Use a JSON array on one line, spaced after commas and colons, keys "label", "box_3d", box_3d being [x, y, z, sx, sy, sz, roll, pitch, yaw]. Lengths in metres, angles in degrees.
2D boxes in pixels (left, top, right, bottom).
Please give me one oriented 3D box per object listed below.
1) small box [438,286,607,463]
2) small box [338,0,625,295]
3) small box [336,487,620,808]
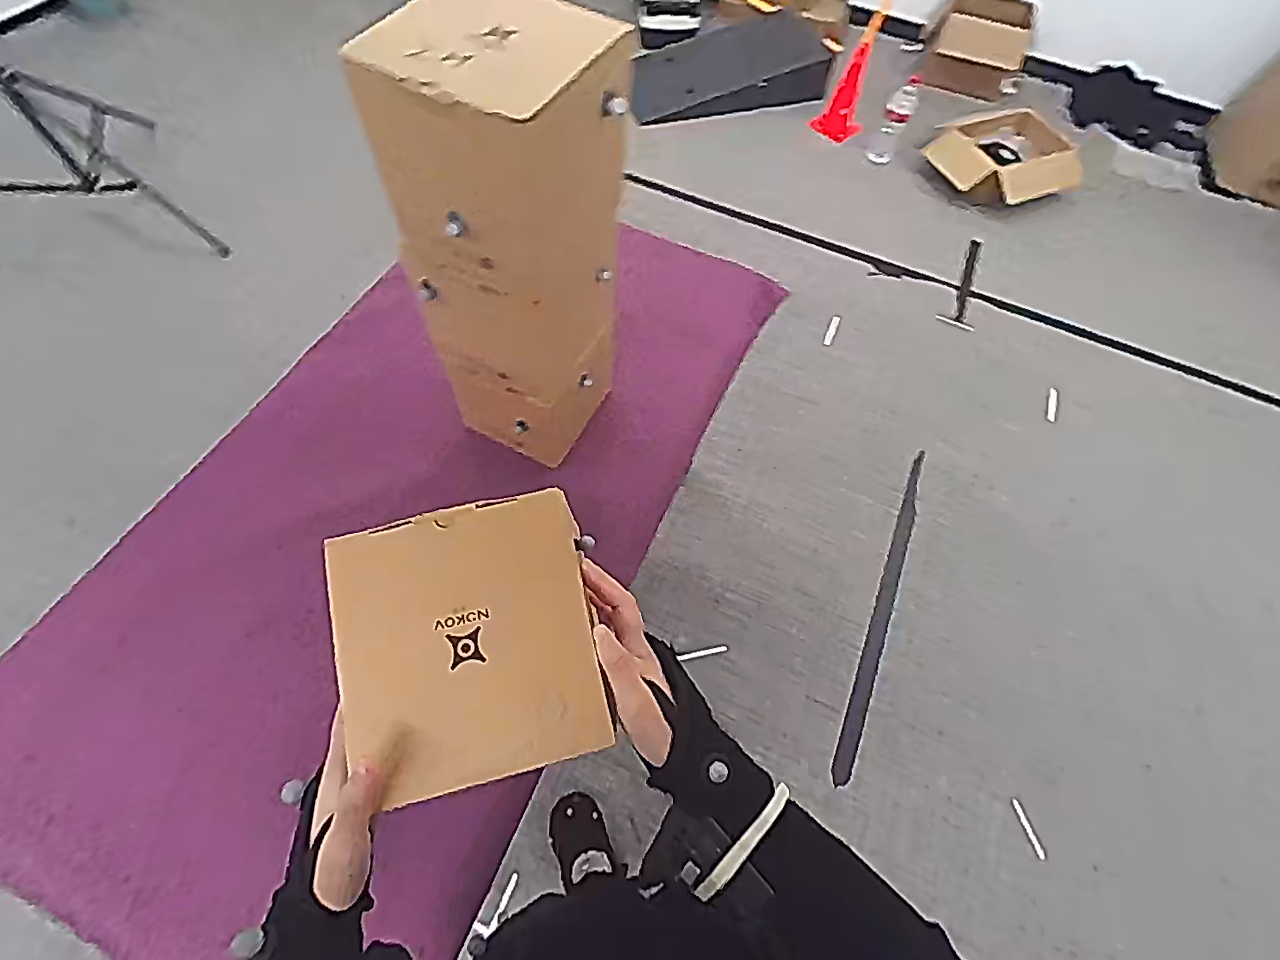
[{"label": "small box", "box_3d": [-0.158, -0.153, 0.792, 0.168, 0.176, 0.179, 25, 63, 8]}, {"label": "small box", "box_3d": [-0.128, -0.313, 0.505, 0.168, 0.176, 0.179, 24, 63, 9]}, {"label": "small box", "box_3d": [-0.111, 0.122, 0.432, 0.168, 0.176, 0.179, -13, 75, -5]}]
